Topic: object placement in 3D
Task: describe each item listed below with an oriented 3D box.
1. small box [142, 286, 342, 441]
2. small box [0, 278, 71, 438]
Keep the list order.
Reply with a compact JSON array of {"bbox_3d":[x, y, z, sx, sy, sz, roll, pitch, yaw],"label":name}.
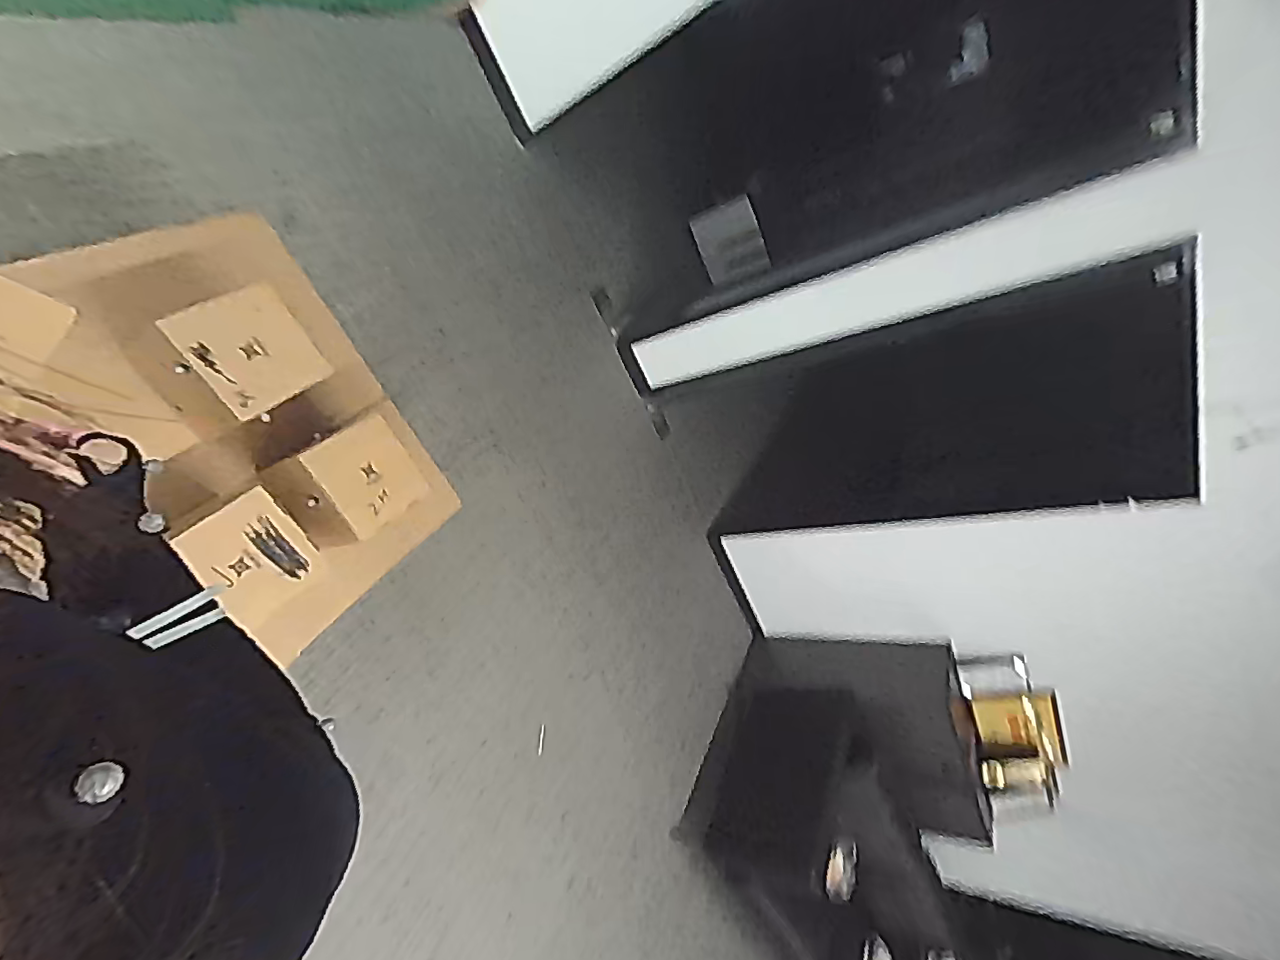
[{"bbox_3d":[-0.641,-0.185,0.876,0.168,0.176,0.179,61,39,-23],"label":"small box"},{"bbox_3d":[-0.572,-0.083,0.388,0.168,0.176,0.179,32,67,-51],"label":"small box"}]
